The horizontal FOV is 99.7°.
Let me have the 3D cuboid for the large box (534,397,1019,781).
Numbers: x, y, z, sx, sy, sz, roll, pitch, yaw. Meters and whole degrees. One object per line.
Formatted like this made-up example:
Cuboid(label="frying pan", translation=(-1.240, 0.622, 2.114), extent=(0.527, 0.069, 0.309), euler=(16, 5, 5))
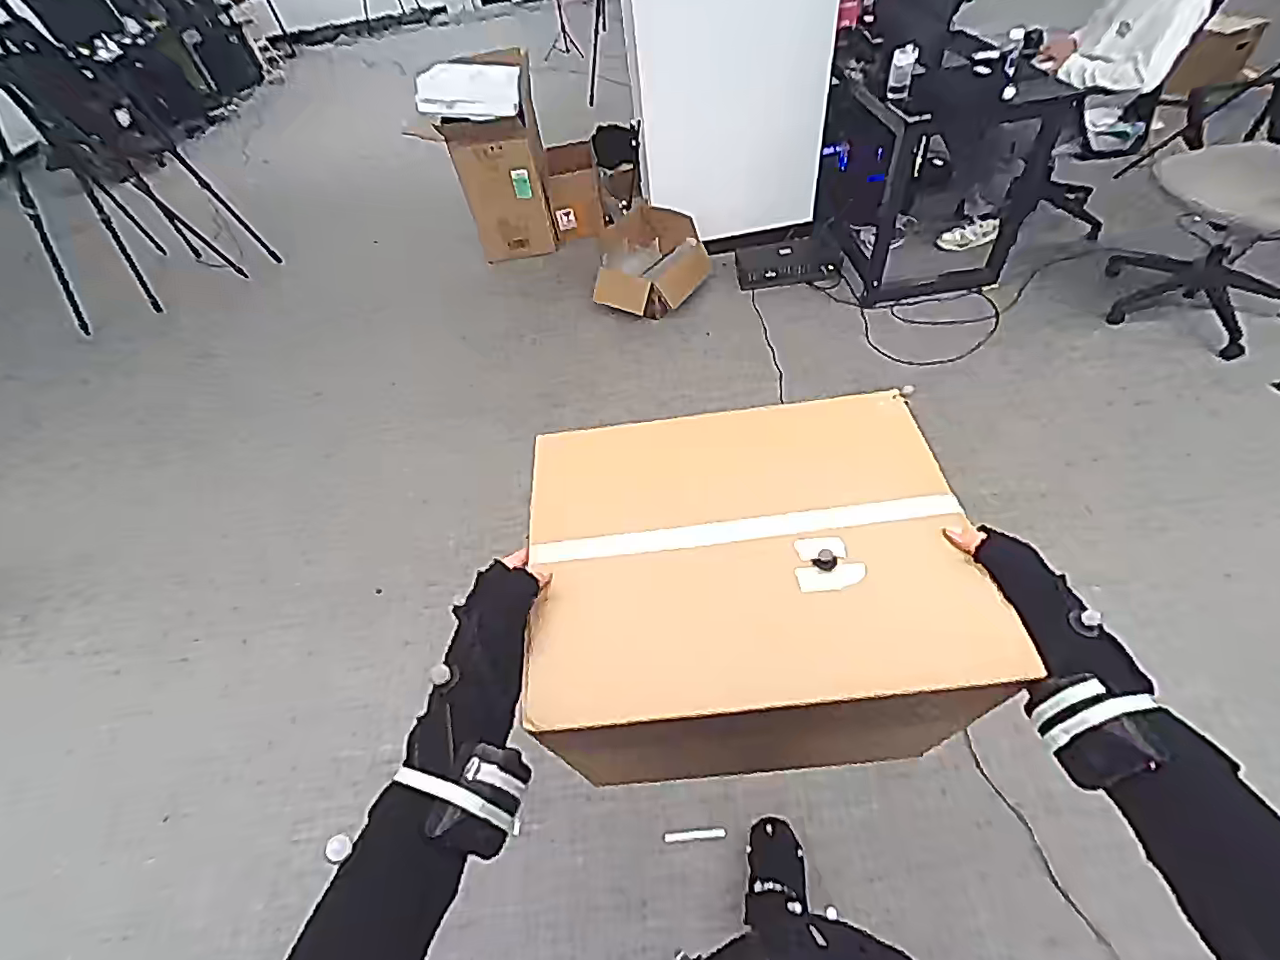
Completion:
Cuboid(label="large box", translation=(0.110, 0.141, 0.642), extent=(0.408, 0.320, 0.320), euler=(-7, 53, 2))
